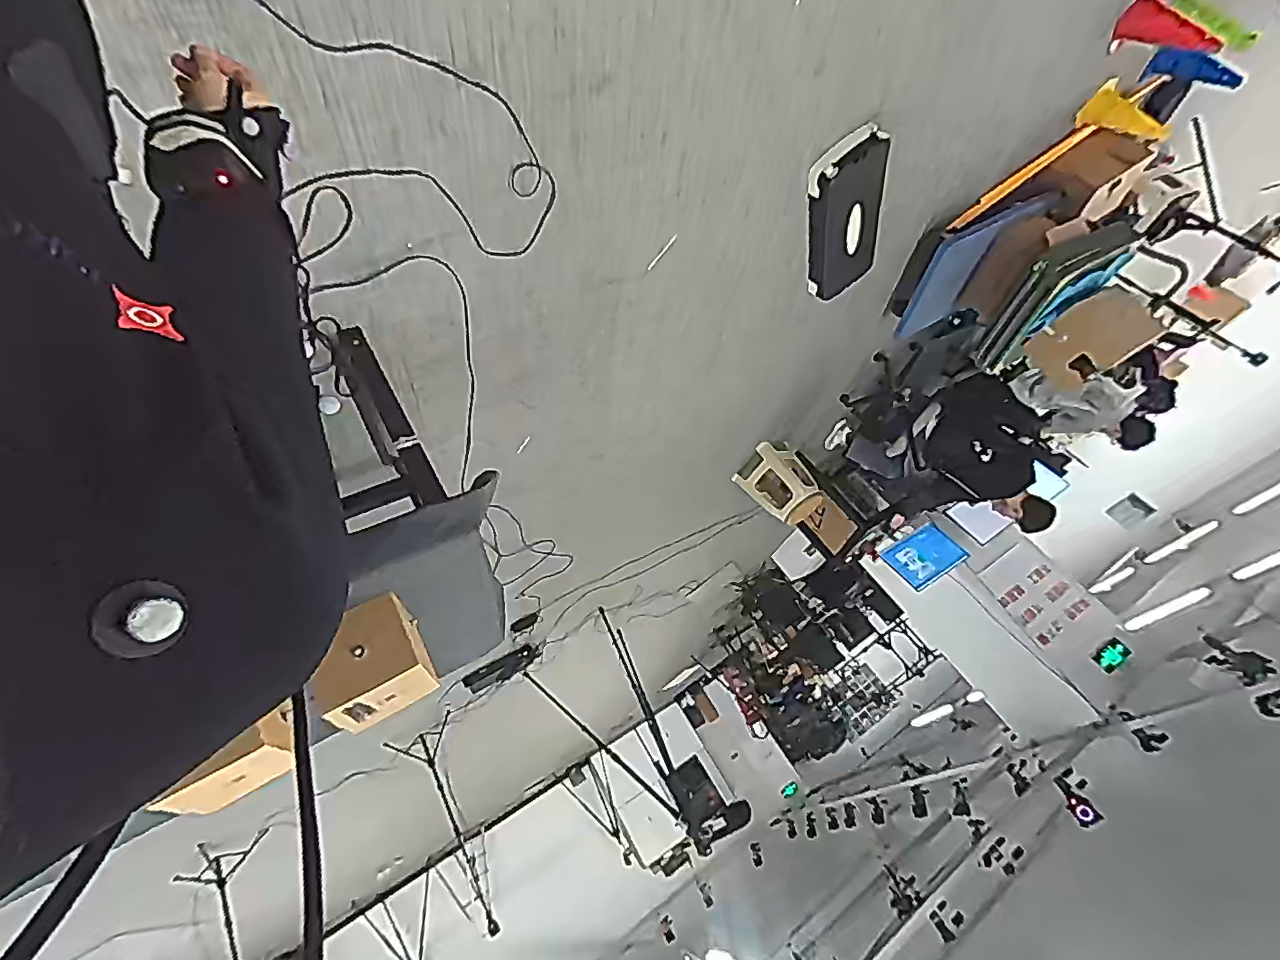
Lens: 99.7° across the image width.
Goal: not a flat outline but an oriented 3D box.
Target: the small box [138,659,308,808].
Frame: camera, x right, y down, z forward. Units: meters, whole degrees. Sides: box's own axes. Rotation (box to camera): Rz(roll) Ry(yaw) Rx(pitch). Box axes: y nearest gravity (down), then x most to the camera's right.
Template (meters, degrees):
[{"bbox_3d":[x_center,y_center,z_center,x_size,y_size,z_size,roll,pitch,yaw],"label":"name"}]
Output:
[{"bbox_3d":[-0.737,0.448,0.962,0.179,0.176,0.168,-26,152,-20],"label":"small box"}]
